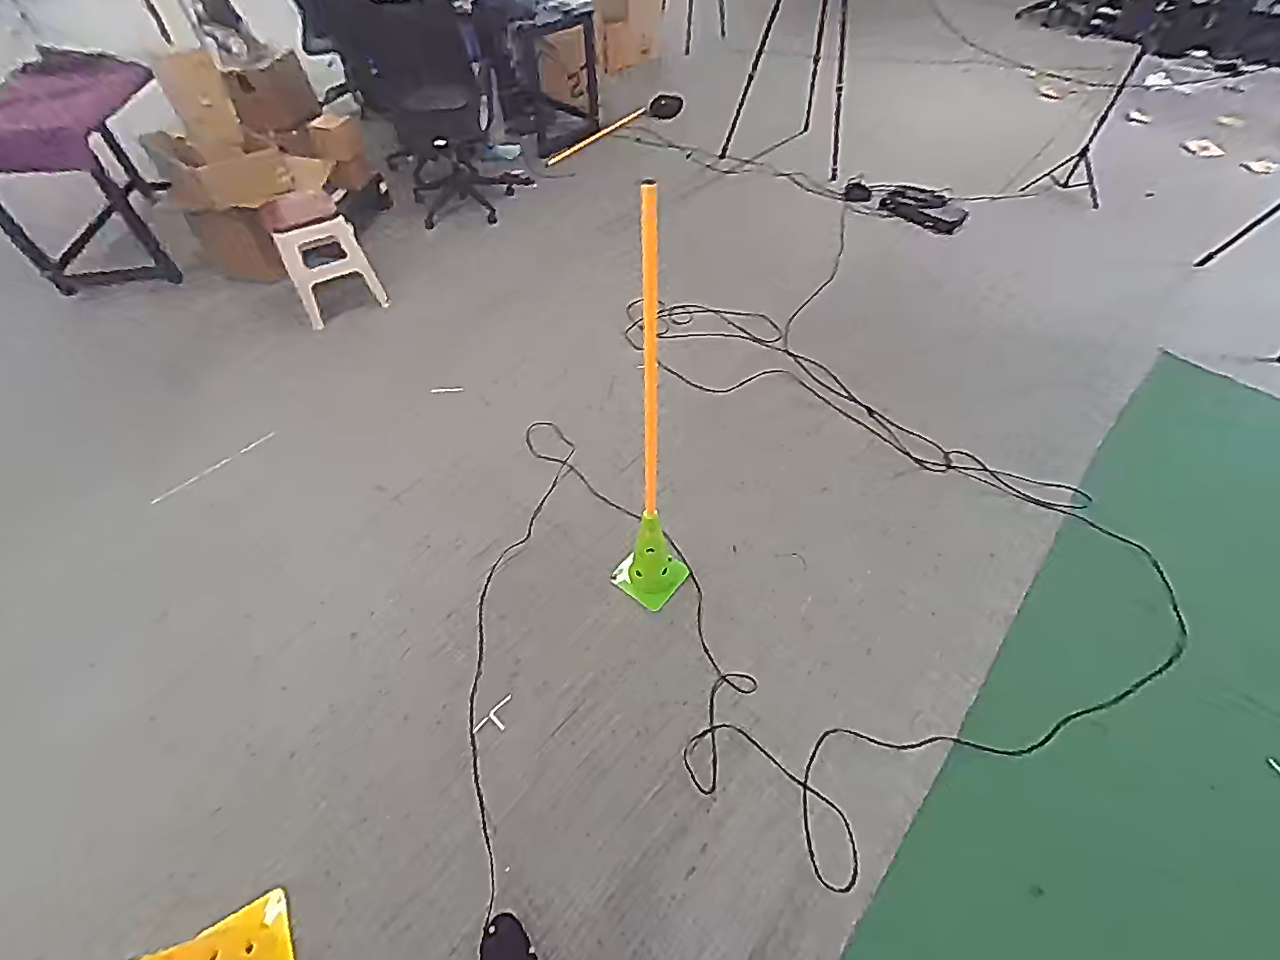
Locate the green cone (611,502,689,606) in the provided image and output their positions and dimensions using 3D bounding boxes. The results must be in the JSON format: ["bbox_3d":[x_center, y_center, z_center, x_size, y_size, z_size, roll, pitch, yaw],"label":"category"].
[{"bbox_3d":[0.036,0.191,1.646,0.200,0.368,0.202,32,58,23],"label":"green cone"}]
